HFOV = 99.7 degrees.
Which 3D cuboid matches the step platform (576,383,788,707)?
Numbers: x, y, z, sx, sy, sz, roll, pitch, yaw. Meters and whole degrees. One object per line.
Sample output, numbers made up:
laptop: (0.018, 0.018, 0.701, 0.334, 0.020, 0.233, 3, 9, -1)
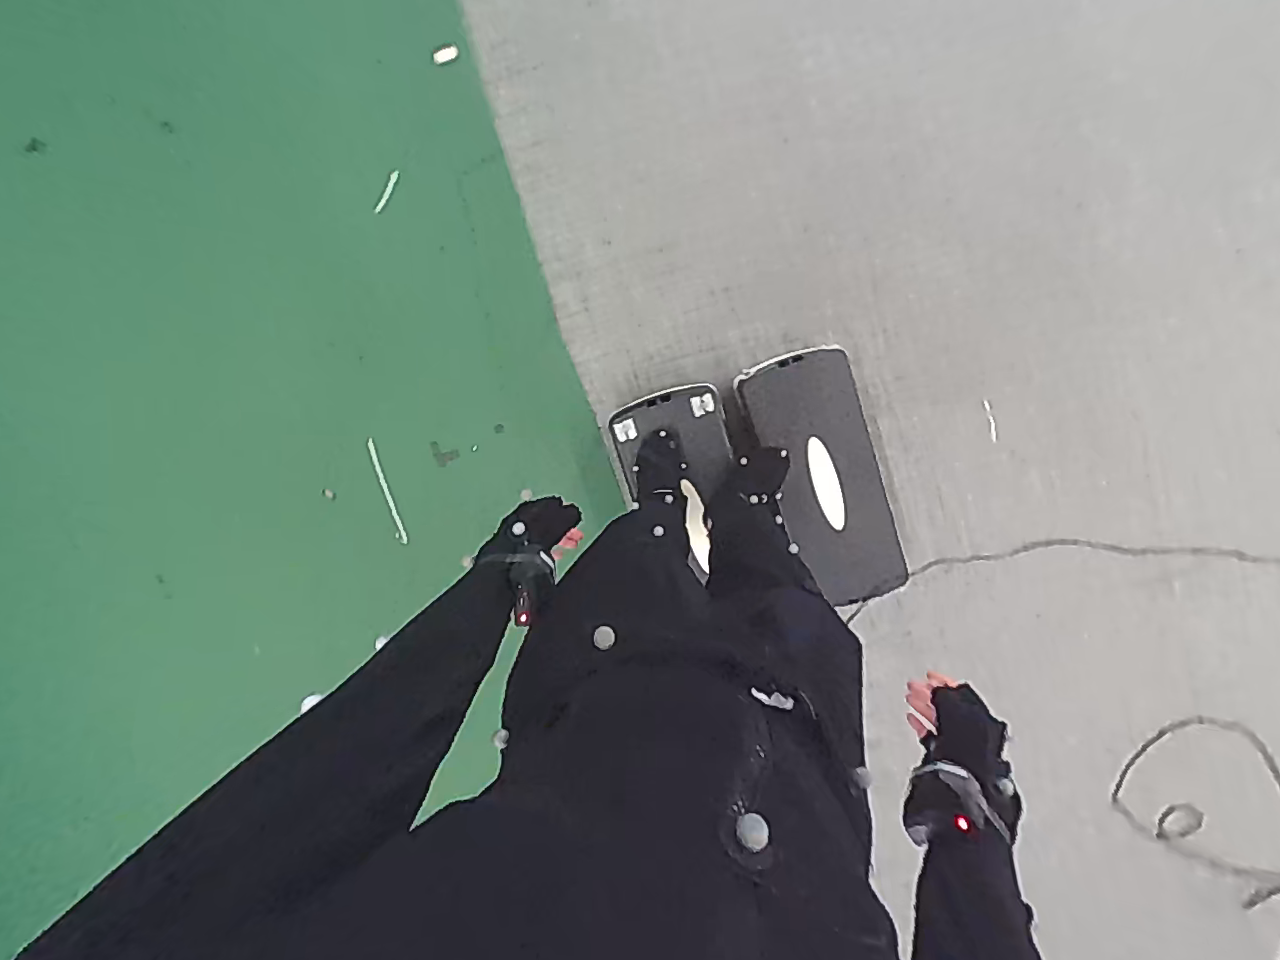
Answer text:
step platform: (0.095, 0.136, 1.213, 0.286, 0.204, 0.684, -17, 97, 6)
